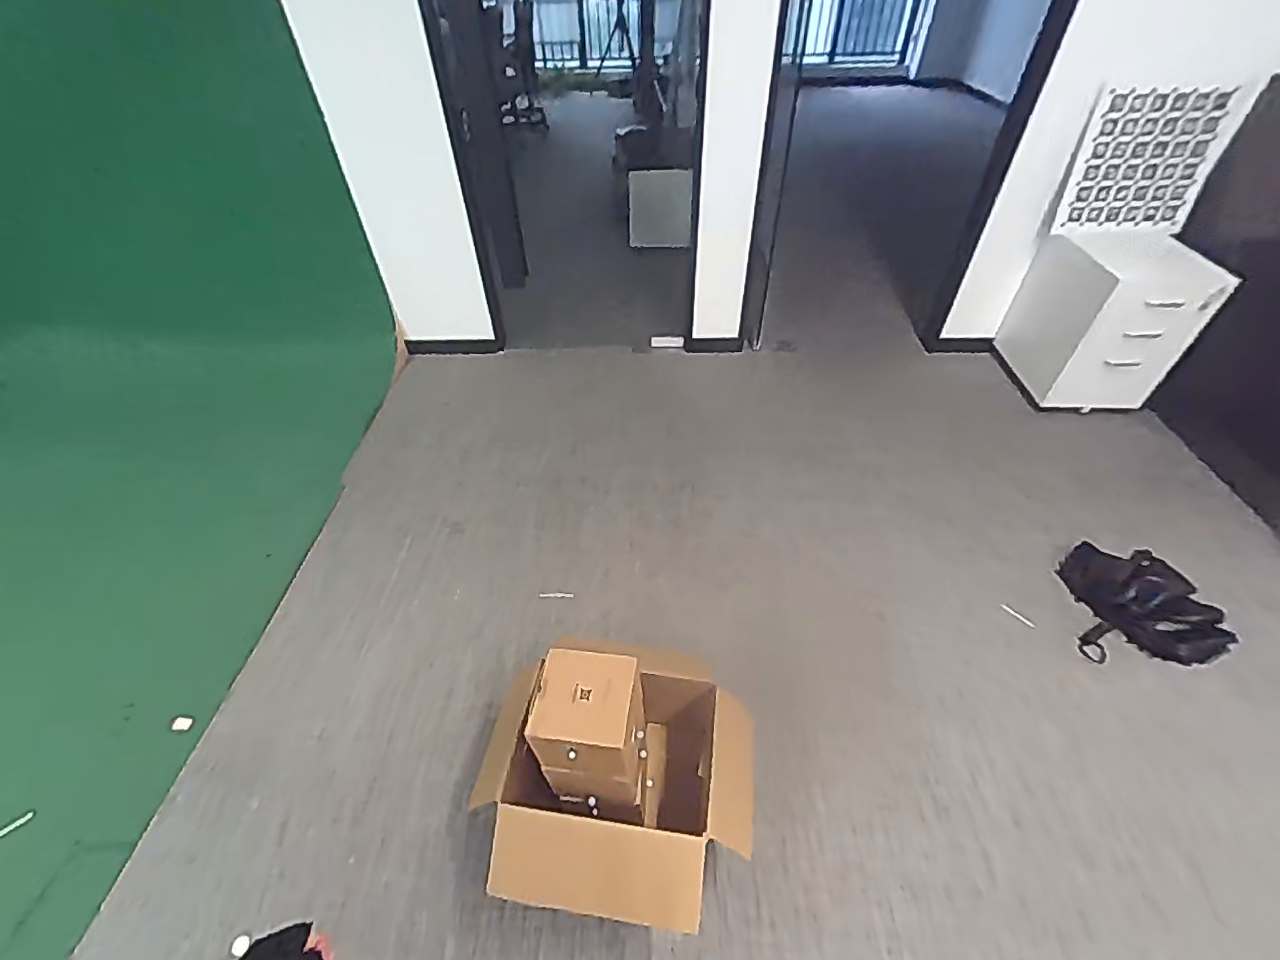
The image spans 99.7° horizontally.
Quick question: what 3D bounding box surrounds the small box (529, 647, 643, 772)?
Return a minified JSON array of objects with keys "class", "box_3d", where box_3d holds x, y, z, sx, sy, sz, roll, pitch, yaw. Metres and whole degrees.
[{"class":"small box","box_3d":[-0.093,0.441,1.036,0.179,0.176,0.168,3,47,7]}]
